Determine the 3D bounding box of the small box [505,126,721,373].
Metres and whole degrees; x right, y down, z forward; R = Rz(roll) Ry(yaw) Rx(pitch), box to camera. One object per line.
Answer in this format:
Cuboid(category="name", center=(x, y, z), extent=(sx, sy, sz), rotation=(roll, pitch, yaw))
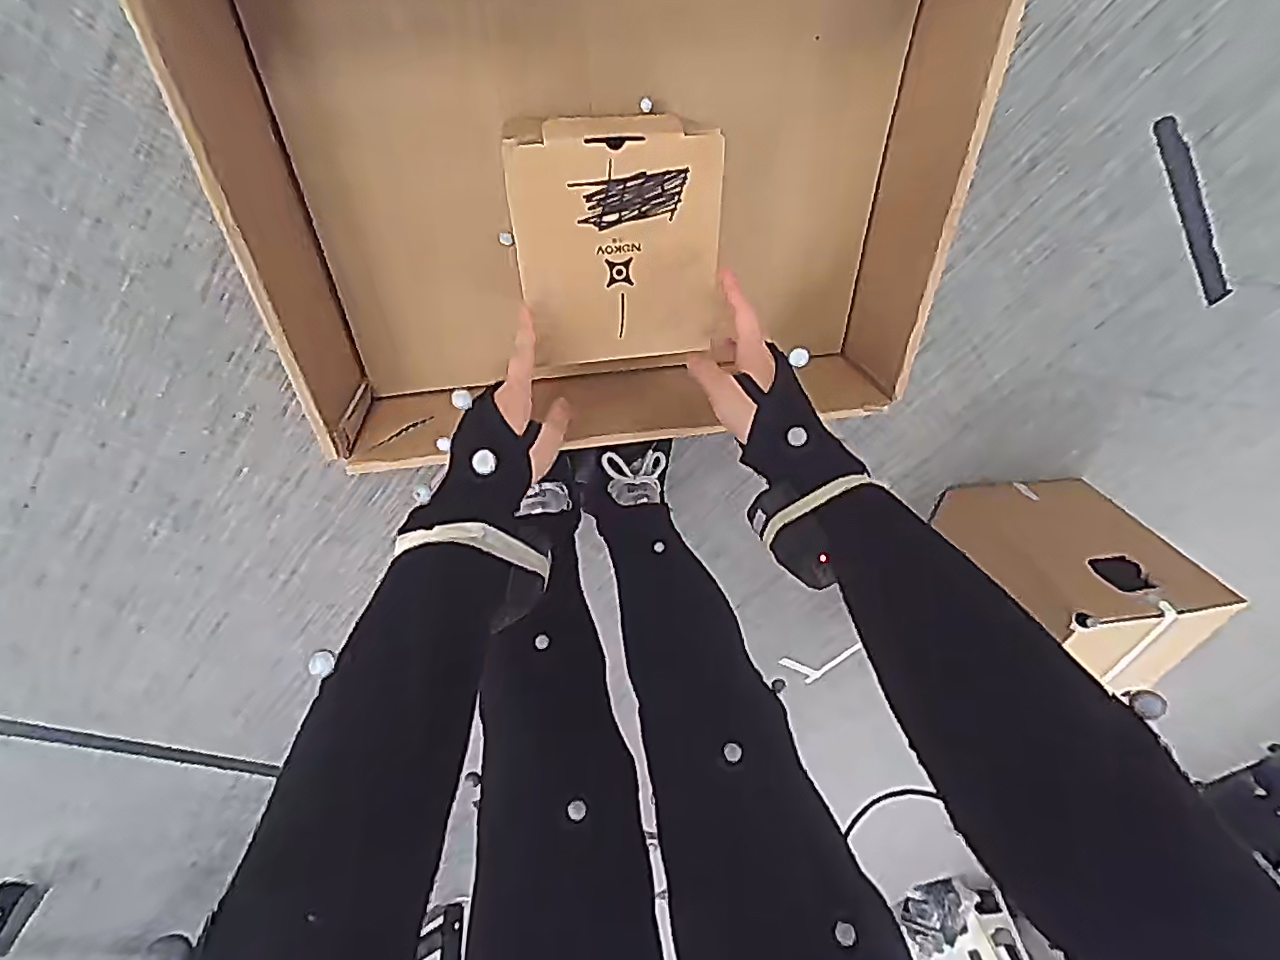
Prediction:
Cuboid(category="small box", center=(-0.032, -0.223, 0.507), extent=(0.168, 0.176, 0.179), rotation=(-7, 129, -7))
